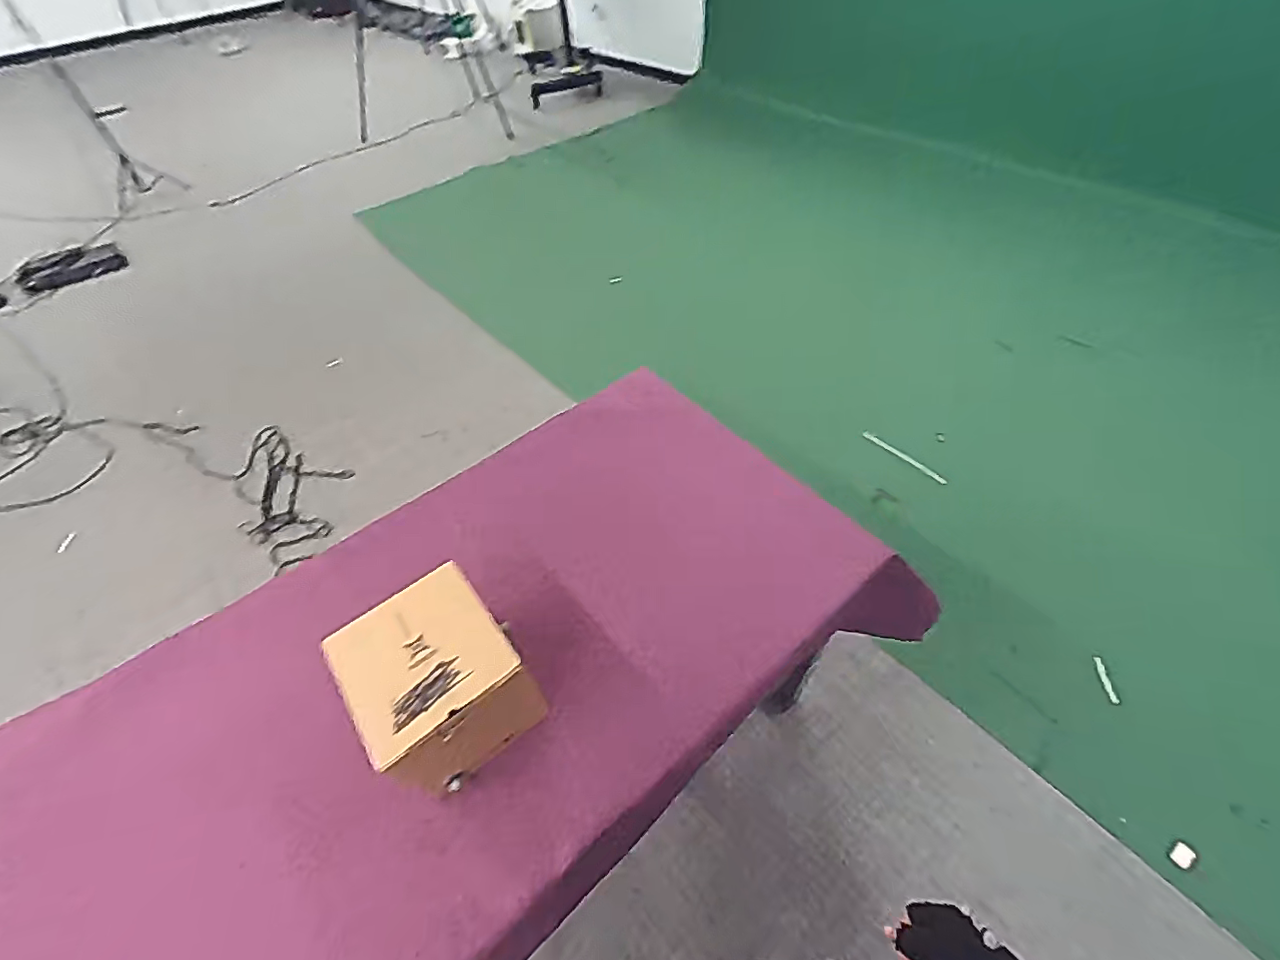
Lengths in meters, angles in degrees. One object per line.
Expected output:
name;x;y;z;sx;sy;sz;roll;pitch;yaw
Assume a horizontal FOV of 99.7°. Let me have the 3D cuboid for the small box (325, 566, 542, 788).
small box;-0.241;0.247;0.665;0.168;0.176;0.179;-33;55;-22
